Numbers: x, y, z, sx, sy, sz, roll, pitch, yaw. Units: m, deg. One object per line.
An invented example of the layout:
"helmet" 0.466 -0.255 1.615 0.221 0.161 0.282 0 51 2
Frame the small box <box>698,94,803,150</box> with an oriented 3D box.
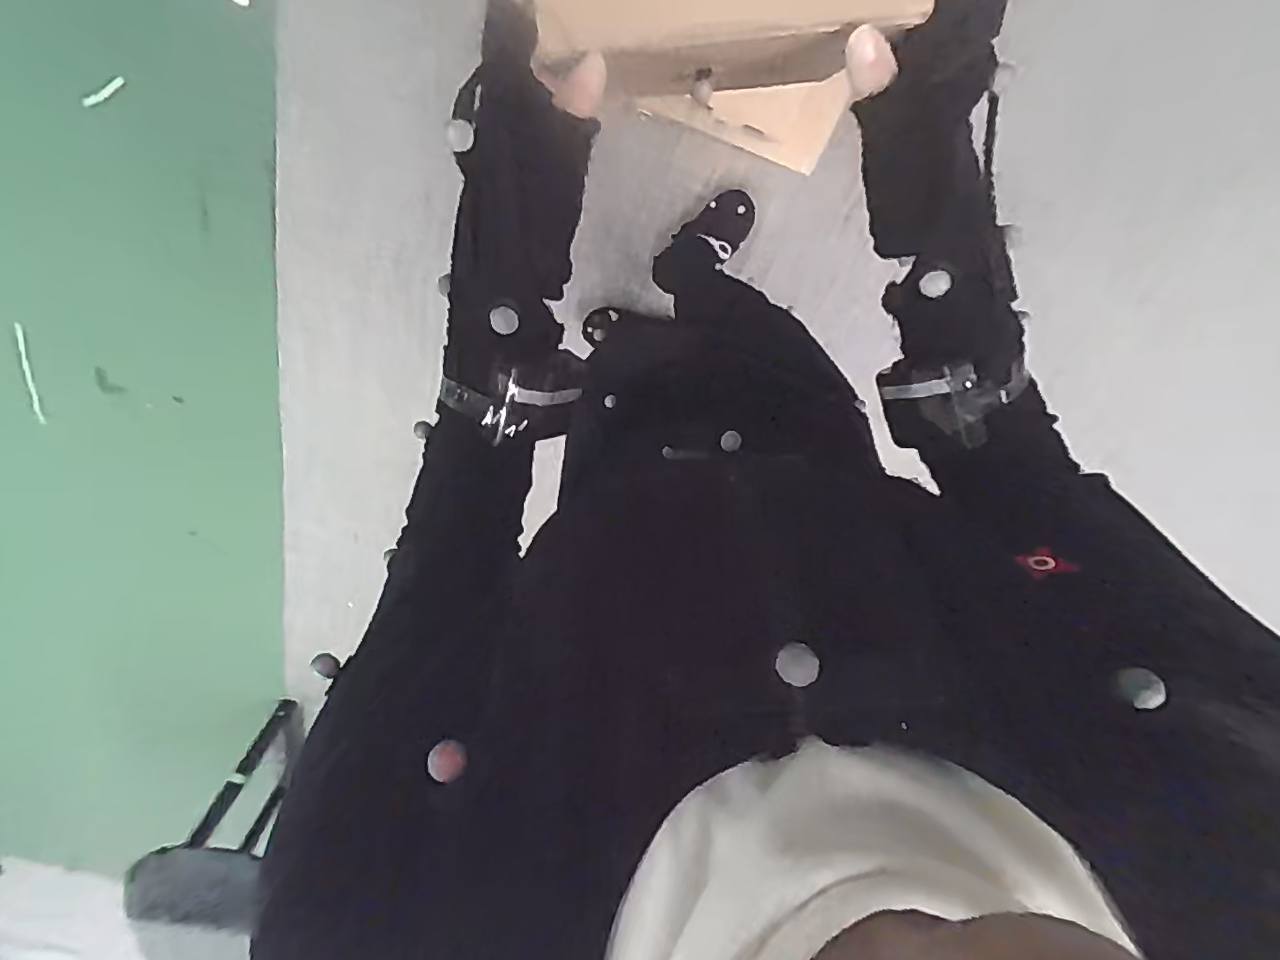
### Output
"small box" 0.148 -0.580 0.735 0.168 0.176 0.179 20 123 -9
